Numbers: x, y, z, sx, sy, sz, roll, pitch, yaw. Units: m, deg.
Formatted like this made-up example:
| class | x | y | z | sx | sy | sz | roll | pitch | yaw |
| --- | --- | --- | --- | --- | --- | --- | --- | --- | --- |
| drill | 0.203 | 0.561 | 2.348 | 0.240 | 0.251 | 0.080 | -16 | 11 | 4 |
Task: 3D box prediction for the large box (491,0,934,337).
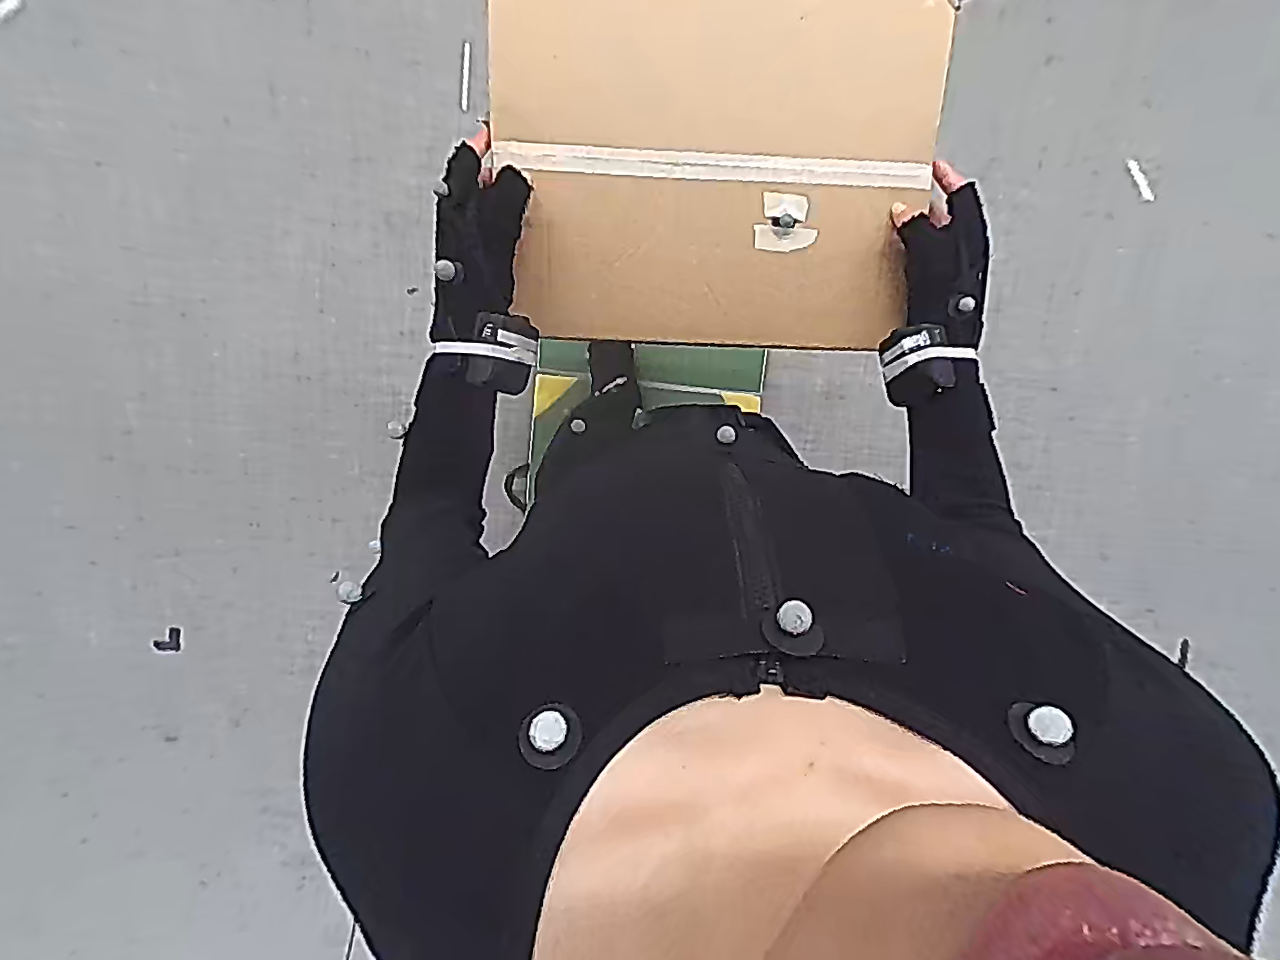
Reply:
| class | x | y | z | sx | sy | sz | roll | pitch | yaw |
| --- | --- | --- | --- | --- | --- | --- | --- | --- | --- |
| large box | 0.056 | -0.337 | 0.653 | 0.408 | 0.320 | 0.320 | 1 | 105 | -4 |
